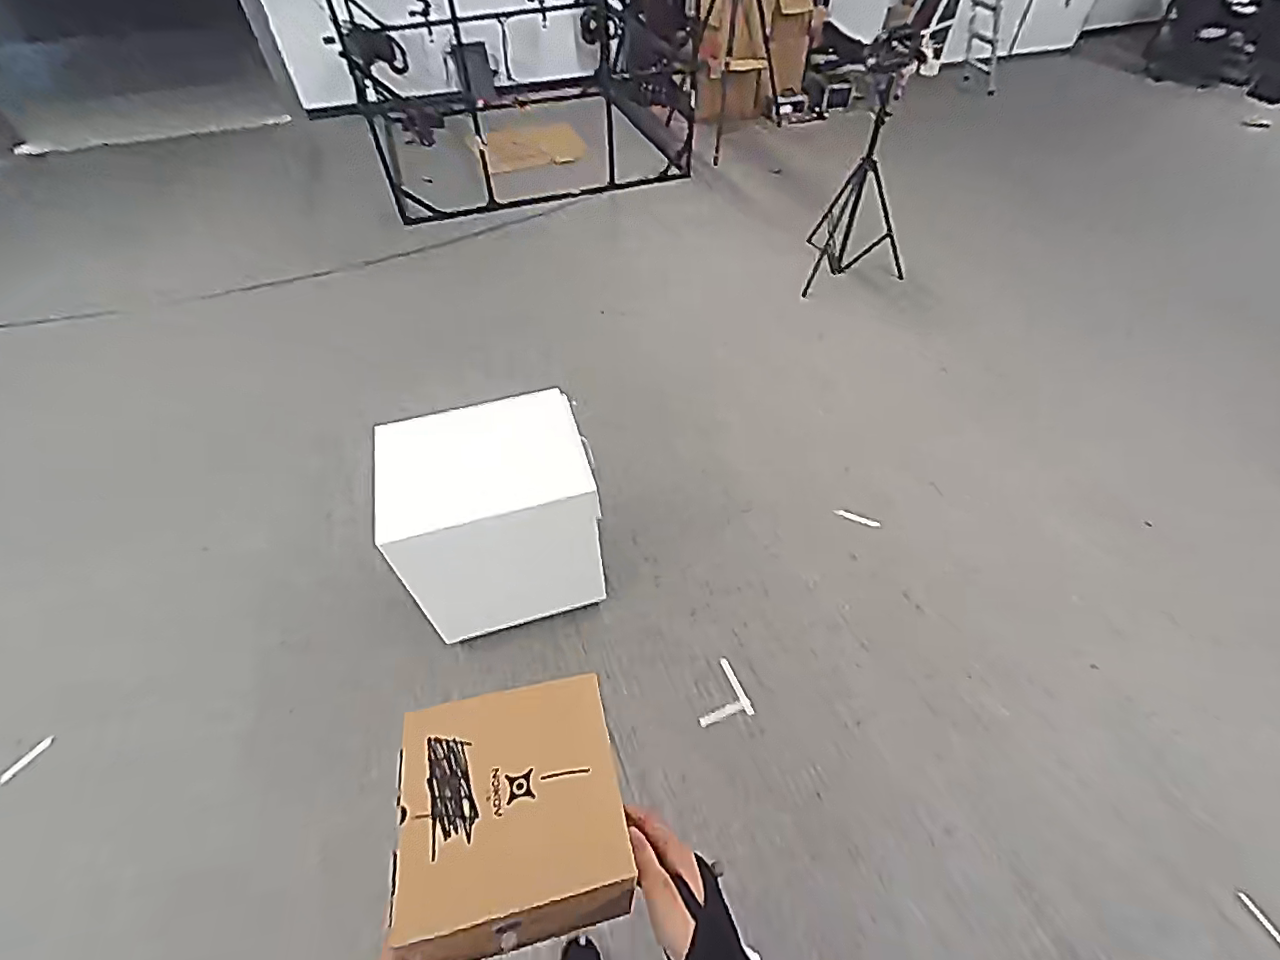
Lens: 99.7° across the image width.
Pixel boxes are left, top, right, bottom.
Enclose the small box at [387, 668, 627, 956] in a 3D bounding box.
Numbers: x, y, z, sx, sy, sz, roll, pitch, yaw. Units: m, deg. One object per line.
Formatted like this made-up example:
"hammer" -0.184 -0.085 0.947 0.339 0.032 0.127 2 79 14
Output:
"small box" -0.114 0.305 0.501 0.179 0.176 0.168 -8 45 -13
